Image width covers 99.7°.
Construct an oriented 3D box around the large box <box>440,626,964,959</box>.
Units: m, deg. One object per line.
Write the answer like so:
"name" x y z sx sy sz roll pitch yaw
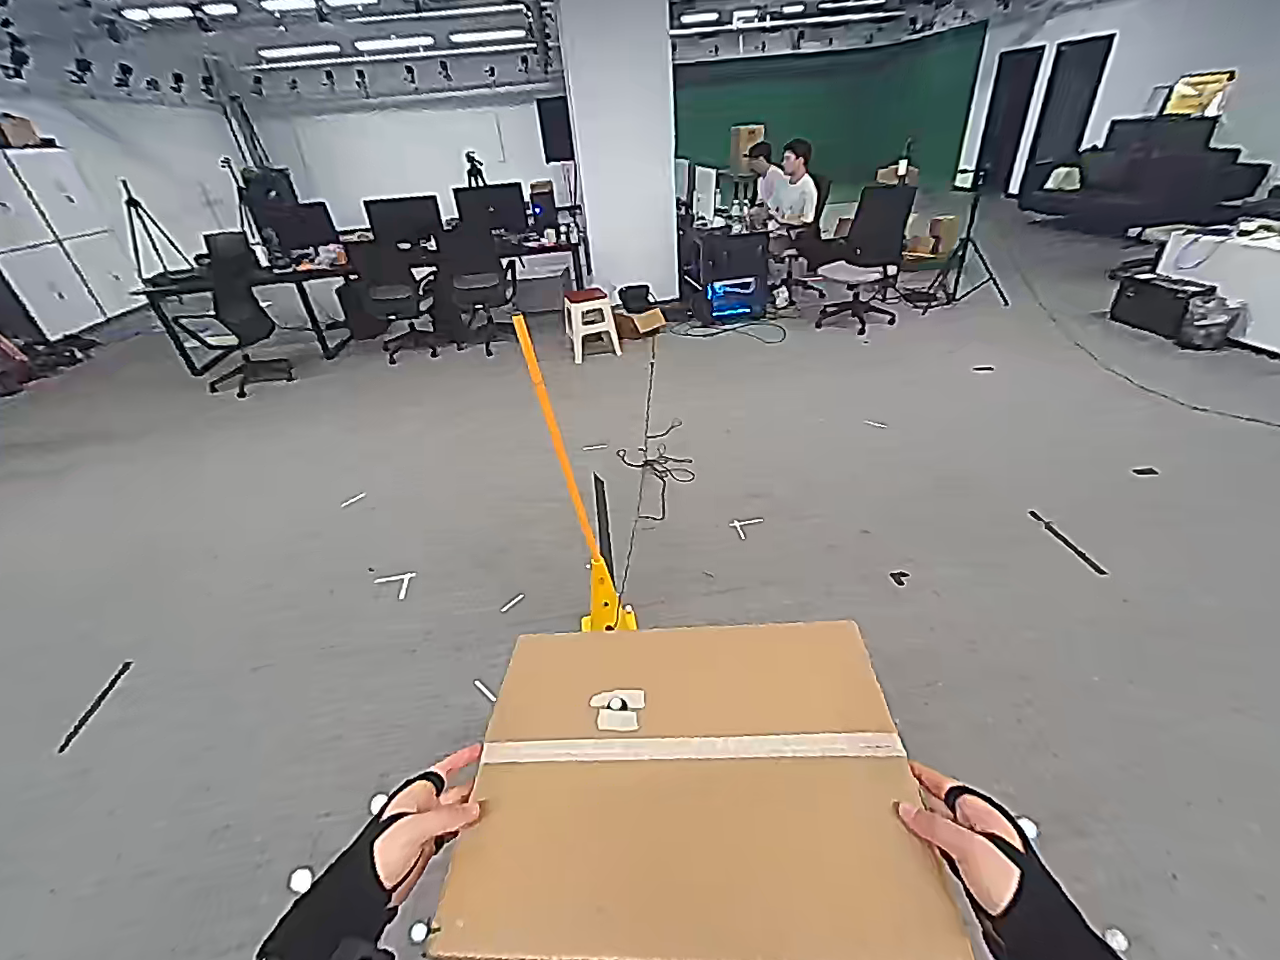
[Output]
"large box" 0.065 0.399 0.608 0.408 0.320 0.320 -6 32 7
